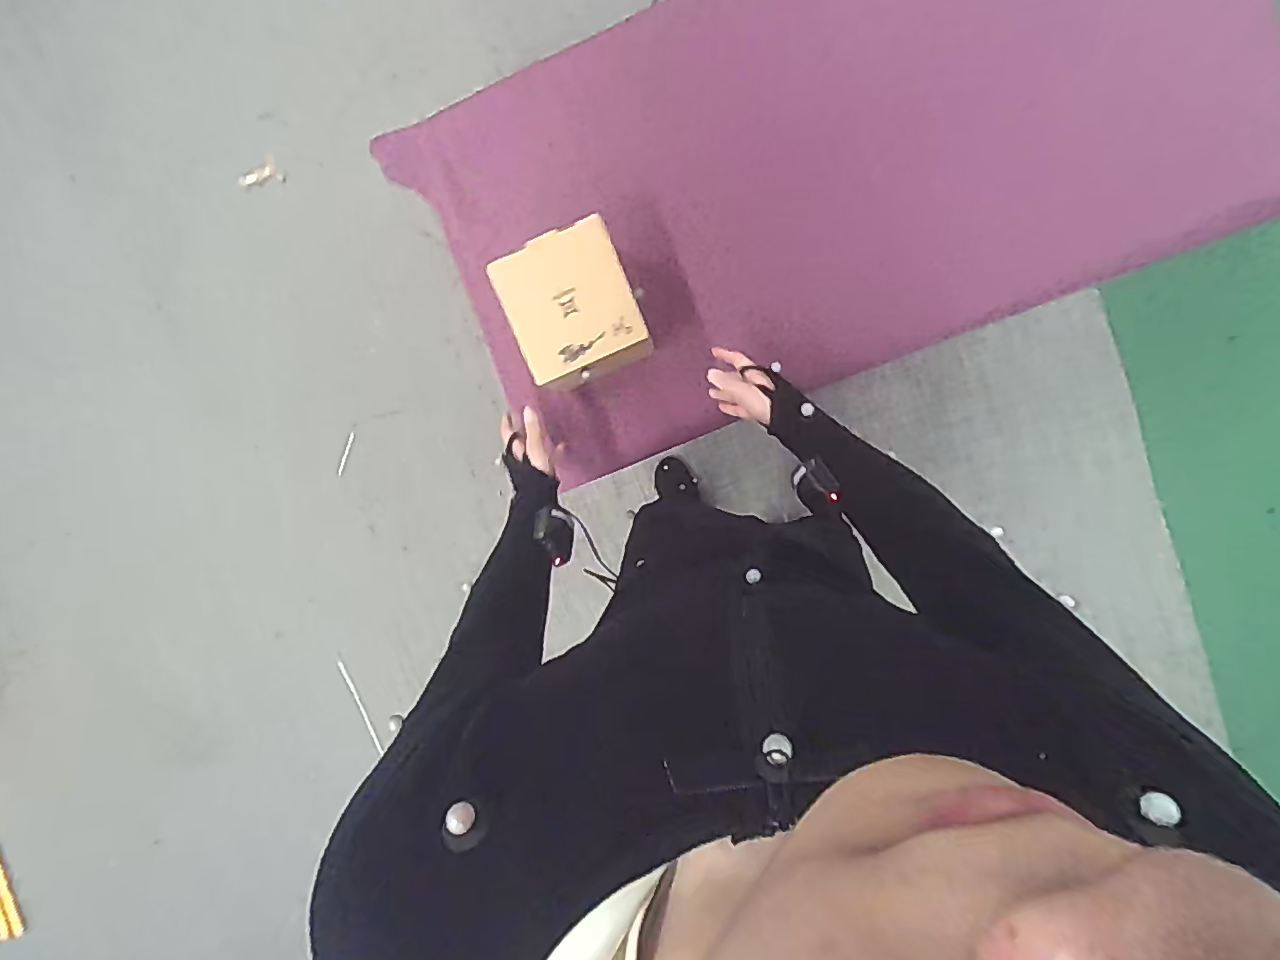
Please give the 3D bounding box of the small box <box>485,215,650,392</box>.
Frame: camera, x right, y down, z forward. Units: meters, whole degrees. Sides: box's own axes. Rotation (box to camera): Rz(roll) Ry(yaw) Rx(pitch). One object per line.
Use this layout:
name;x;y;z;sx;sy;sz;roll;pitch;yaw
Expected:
small box;-0.094;-0.240;0.785;0.168;0.176;0.179;-23;94;7
